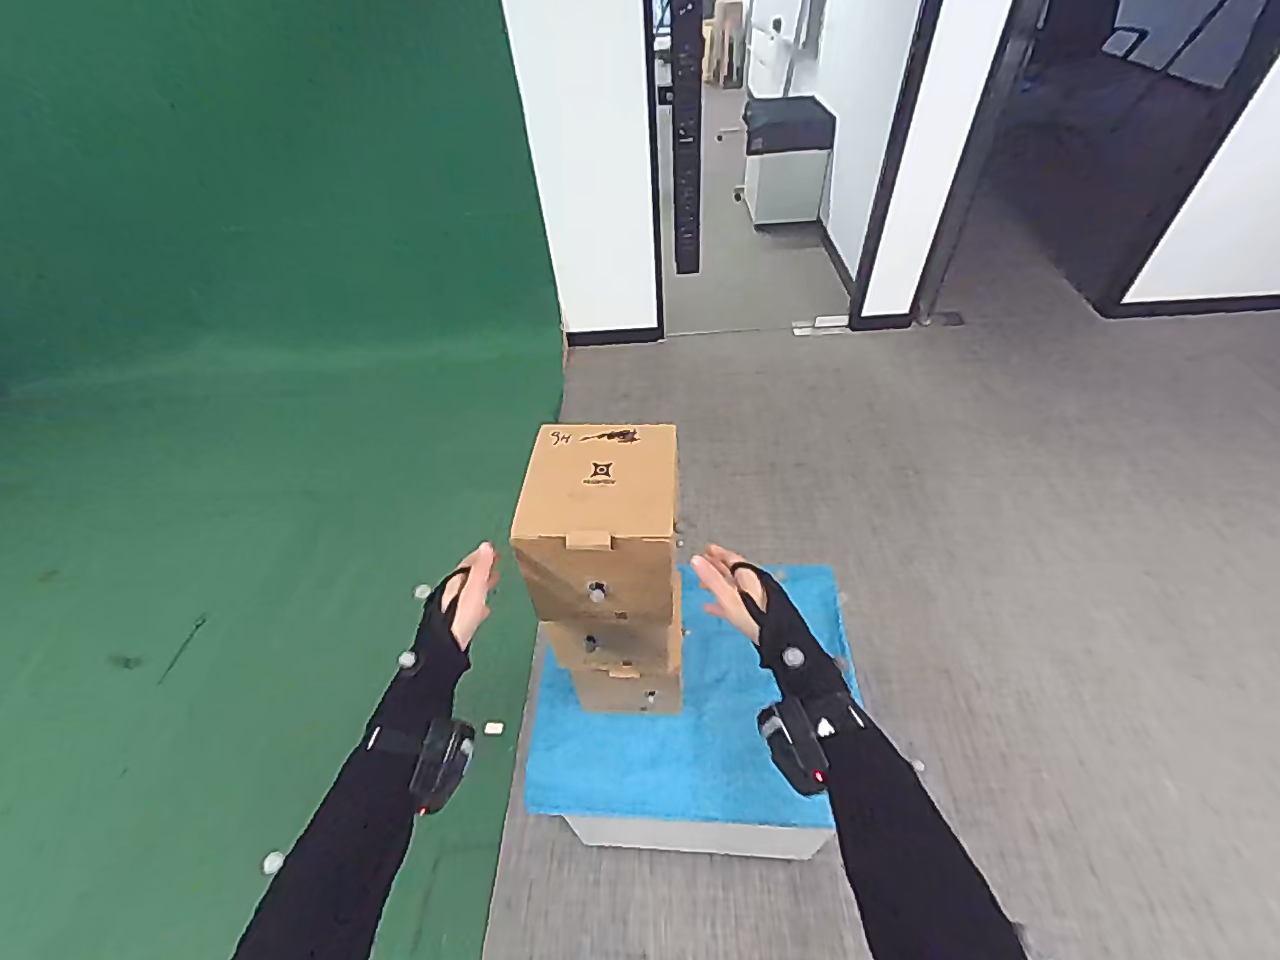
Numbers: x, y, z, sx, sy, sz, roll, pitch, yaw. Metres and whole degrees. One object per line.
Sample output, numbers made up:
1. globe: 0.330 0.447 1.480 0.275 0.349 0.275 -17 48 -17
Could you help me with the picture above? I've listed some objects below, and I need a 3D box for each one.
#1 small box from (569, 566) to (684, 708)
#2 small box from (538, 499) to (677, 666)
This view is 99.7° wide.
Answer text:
1. small box: -0.012 0.258 0.888 0.168 0.176 0.179 1 46 4
2. small box: -0.034 0.147 0.771 0.168 0.176 0.179 2 46 5
